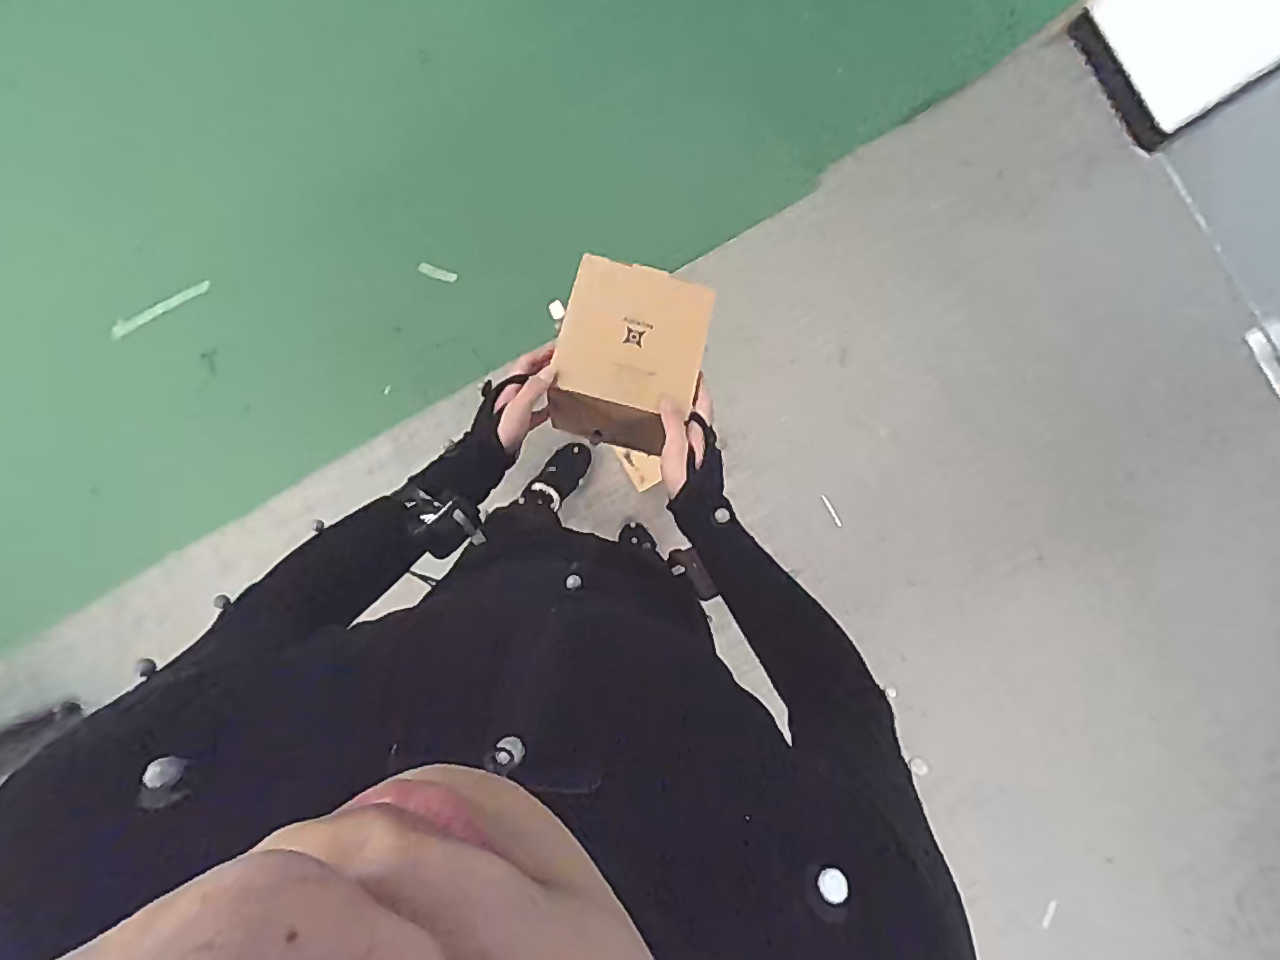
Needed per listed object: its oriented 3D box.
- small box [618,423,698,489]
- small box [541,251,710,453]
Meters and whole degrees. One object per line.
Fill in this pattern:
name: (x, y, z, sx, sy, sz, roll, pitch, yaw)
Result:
small box: (0.045, -0.086, 1.561, 0.179, 0.176, 0.168, -29, 90, -2)
small box: (-0.021, -0.153, 0.697, 0.168, 0.176, 0.179, 14, 78, -2)
